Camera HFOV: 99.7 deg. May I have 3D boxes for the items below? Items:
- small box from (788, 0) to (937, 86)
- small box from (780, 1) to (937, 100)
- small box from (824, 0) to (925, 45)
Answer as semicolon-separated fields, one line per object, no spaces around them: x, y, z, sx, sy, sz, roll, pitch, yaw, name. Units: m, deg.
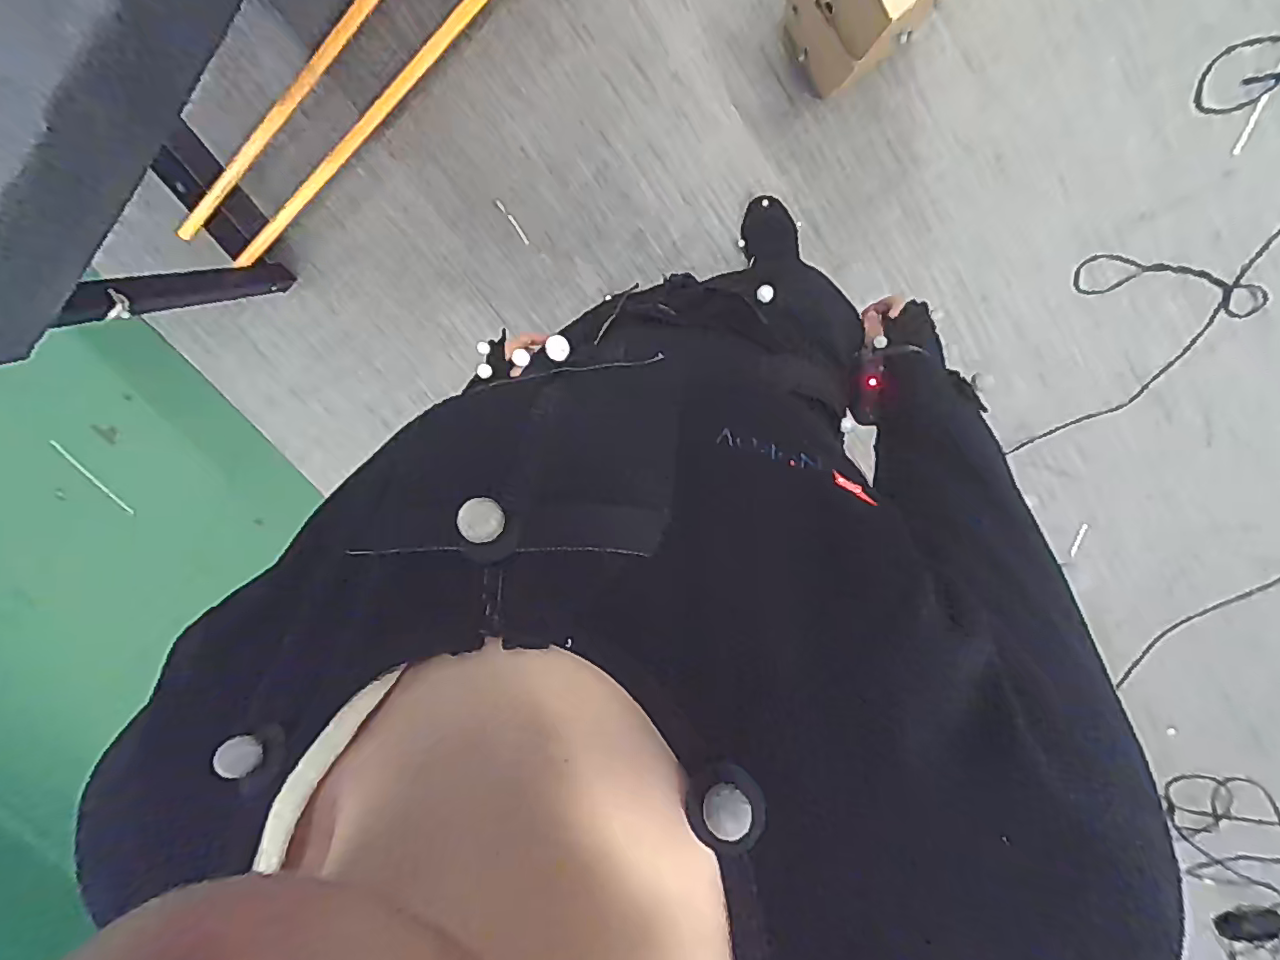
0.325;-0.715;0.774;0.179;0.176;0.168;-33;106;21;small box
0.356;-0.793;0.915;0.179;0.176;0.168;-31;106;20;small box
0.300;-0.652;0.624;0.168;0.176;0.179;-31;108;20;small box
